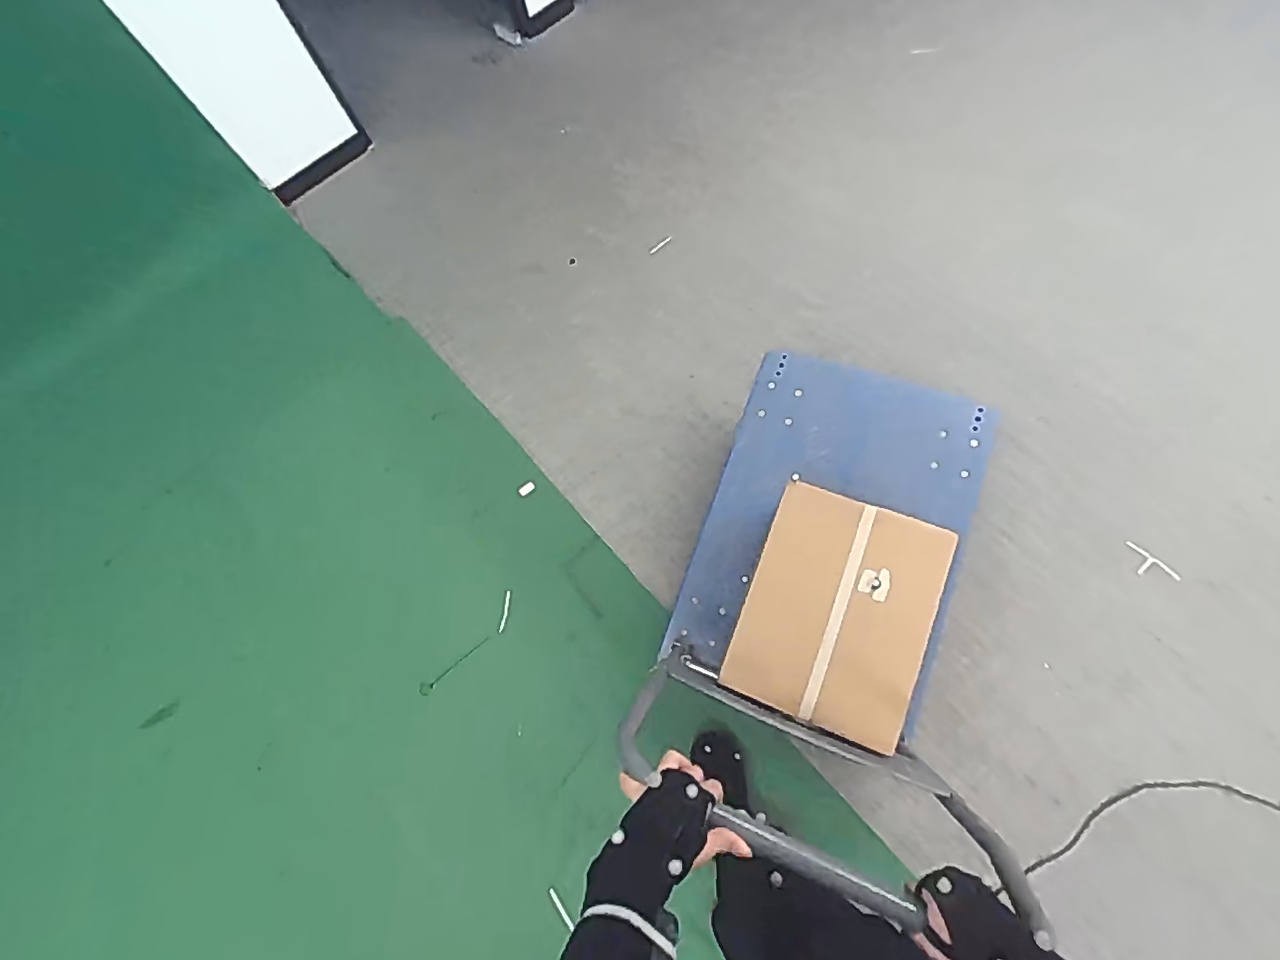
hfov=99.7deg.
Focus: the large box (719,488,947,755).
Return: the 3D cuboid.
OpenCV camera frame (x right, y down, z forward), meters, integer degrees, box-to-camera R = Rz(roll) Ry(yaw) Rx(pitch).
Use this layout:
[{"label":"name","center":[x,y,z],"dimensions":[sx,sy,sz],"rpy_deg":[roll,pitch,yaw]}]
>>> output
[{"label":"large box","center":[0.378,0.281,1.131],"dimensions":[0.320,0.320,0.408],"rpy_deg":[20,80,13]}]
